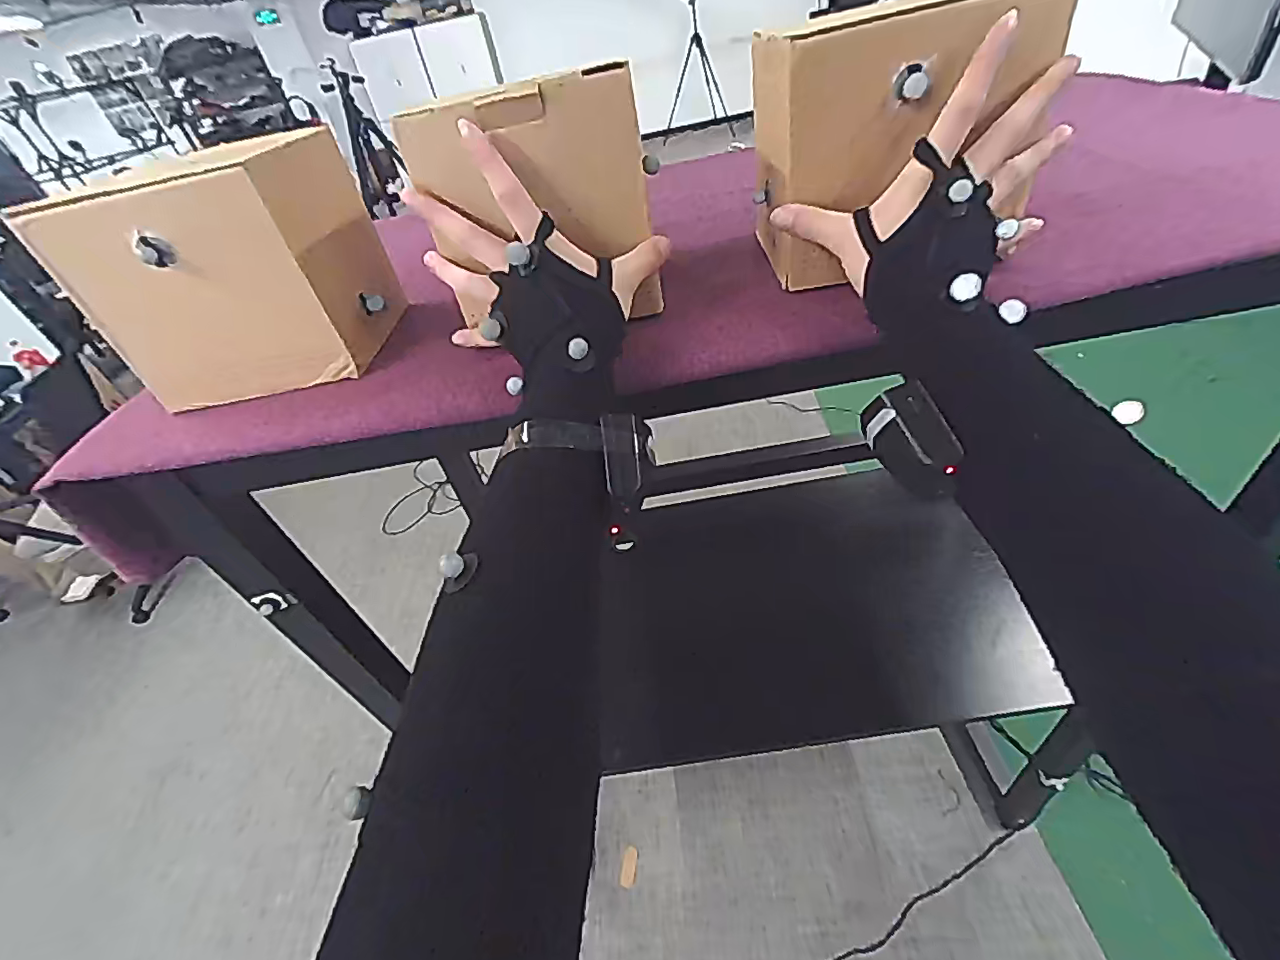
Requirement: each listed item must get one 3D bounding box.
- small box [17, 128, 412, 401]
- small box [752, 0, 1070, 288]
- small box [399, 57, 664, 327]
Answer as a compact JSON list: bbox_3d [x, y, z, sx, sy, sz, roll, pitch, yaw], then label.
[{"bbox_3d":[-0.335,-0.186,0.476,0.179,0.176,0.168,-10,40,2],"label":"small box"},{"bbox_3d":[0.194,-0.281,0.449,0.179,0.176,0.168,-9,39,7],"label":"small box"},{"bbox_3d":[-0.074,-0.246,0.475,0.168,0.176,0.179,-9,39,4],"label":"small box"}]
